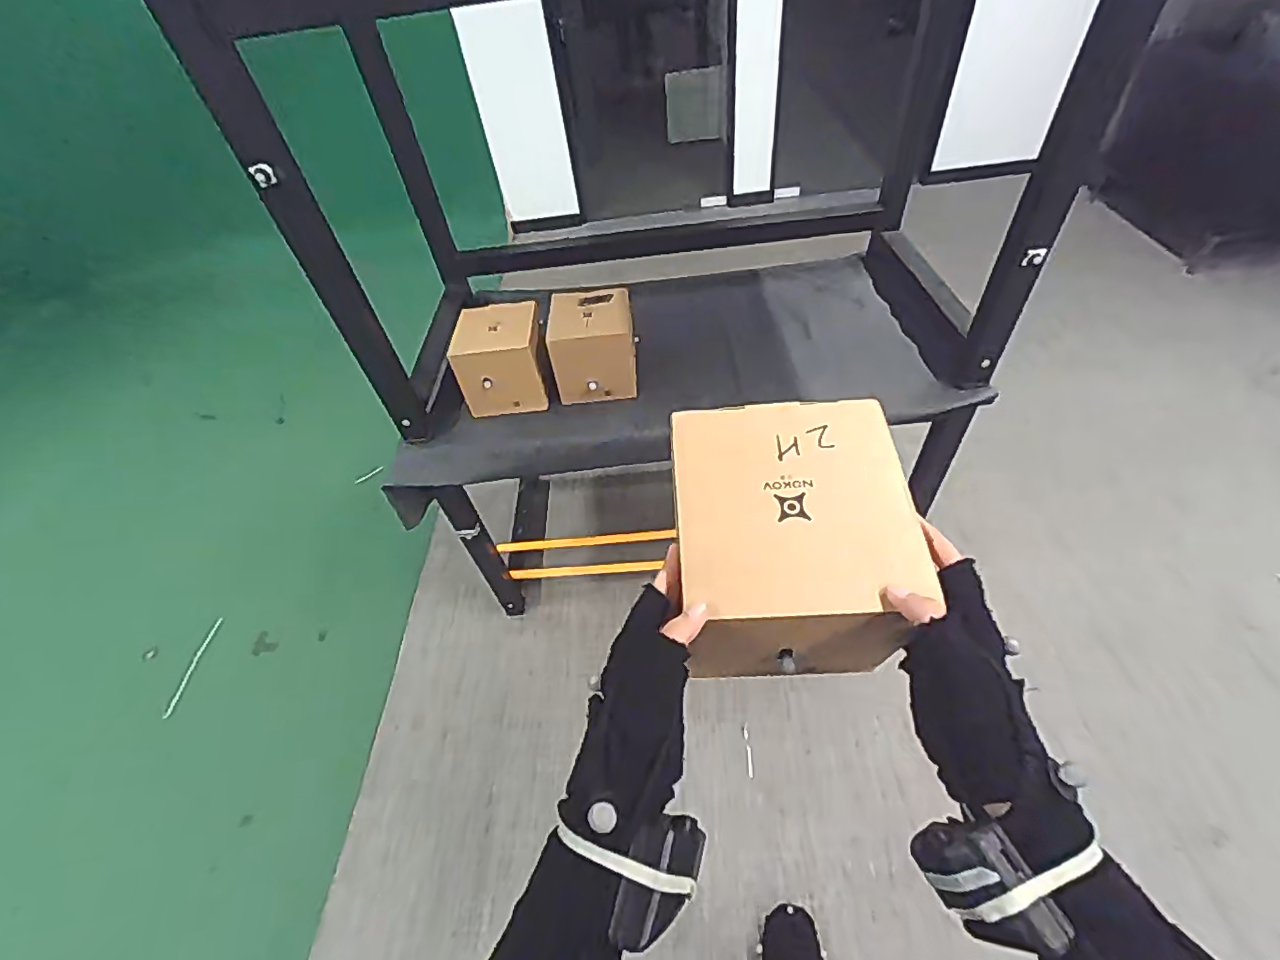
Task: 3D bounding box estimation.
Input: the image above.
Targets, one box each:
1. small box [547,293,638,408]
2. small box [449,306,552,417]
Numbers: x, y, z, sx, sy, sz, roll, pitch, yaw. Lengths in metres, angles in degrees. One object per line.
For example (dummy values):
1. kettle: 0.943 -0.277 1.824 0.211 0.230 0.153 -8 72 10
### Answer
1. small box: -0.096 -0.277 1.168 0.168 0.176 0.179 -6 48 4
2. small box: -0.290 -0.249 1.170 0.168 0.176 0.179 -6 47 2
